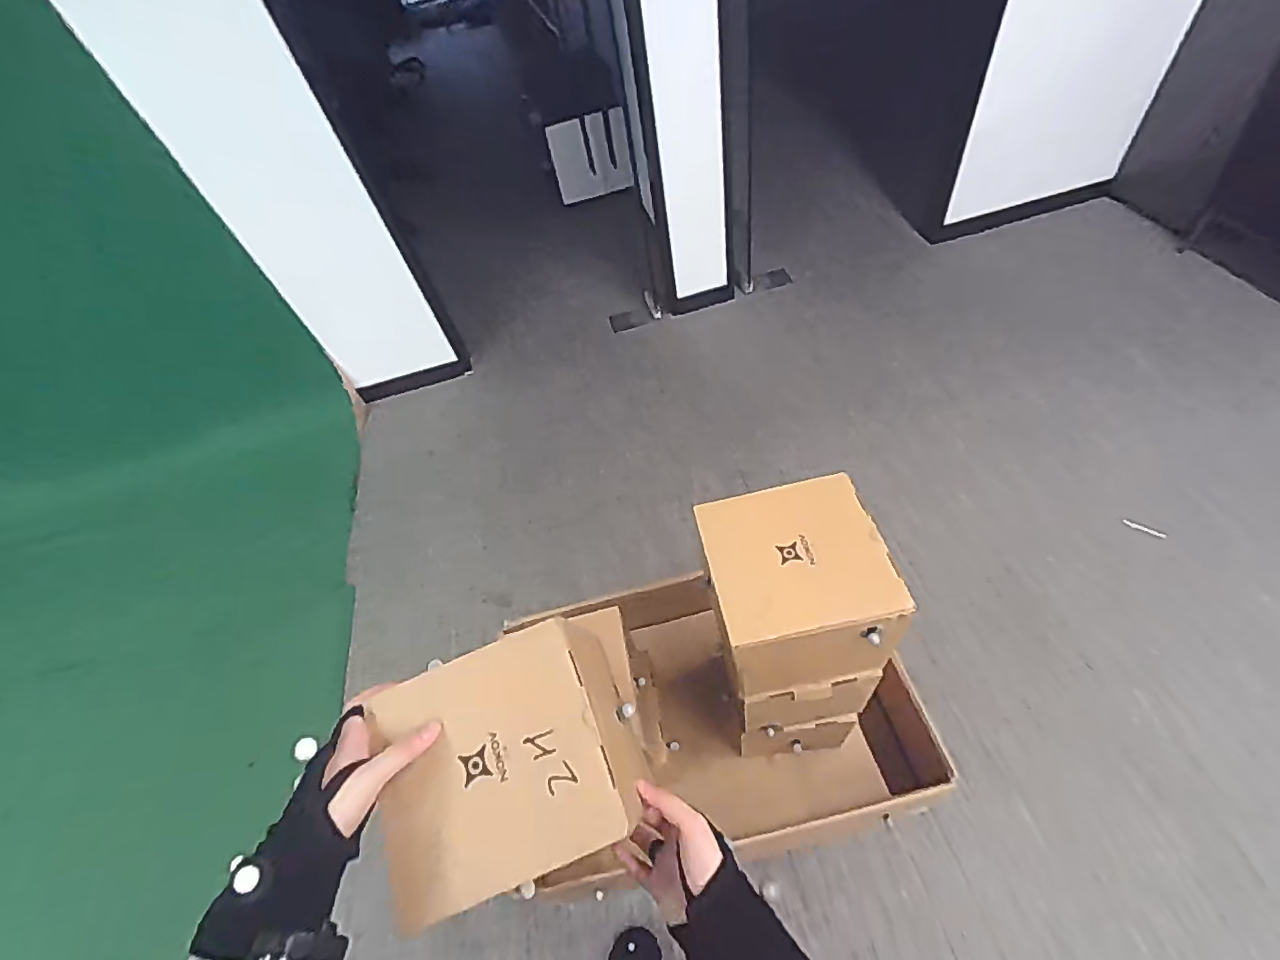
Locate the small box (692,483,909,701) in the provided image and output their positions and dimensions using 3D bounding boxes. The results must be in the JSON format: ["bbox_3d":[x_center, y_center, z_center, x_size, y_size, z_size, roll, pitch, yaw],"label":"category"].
[{"bbox_3d":[0.166,0.132,0.610,0.179,0.176,0.168,-12,51,0],"label":"small box"}]

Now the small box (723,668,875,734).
[{"bbox_3d":[0.195,0.231,0.736,0.168,0.176,0.179,-12,51,2],"label":"small box"}]

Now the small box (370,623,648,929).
[{"bbox_3d":[-0.105,0.248,0.485,0.179,0.176,0.168,-21,67,-2],"label":"small box"}]

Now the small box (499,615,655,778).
[{"bbox_3d":[-0.081,0.310,0.727,0.168,0.176,0.179,-13,51,0],"label":"small box"}]
